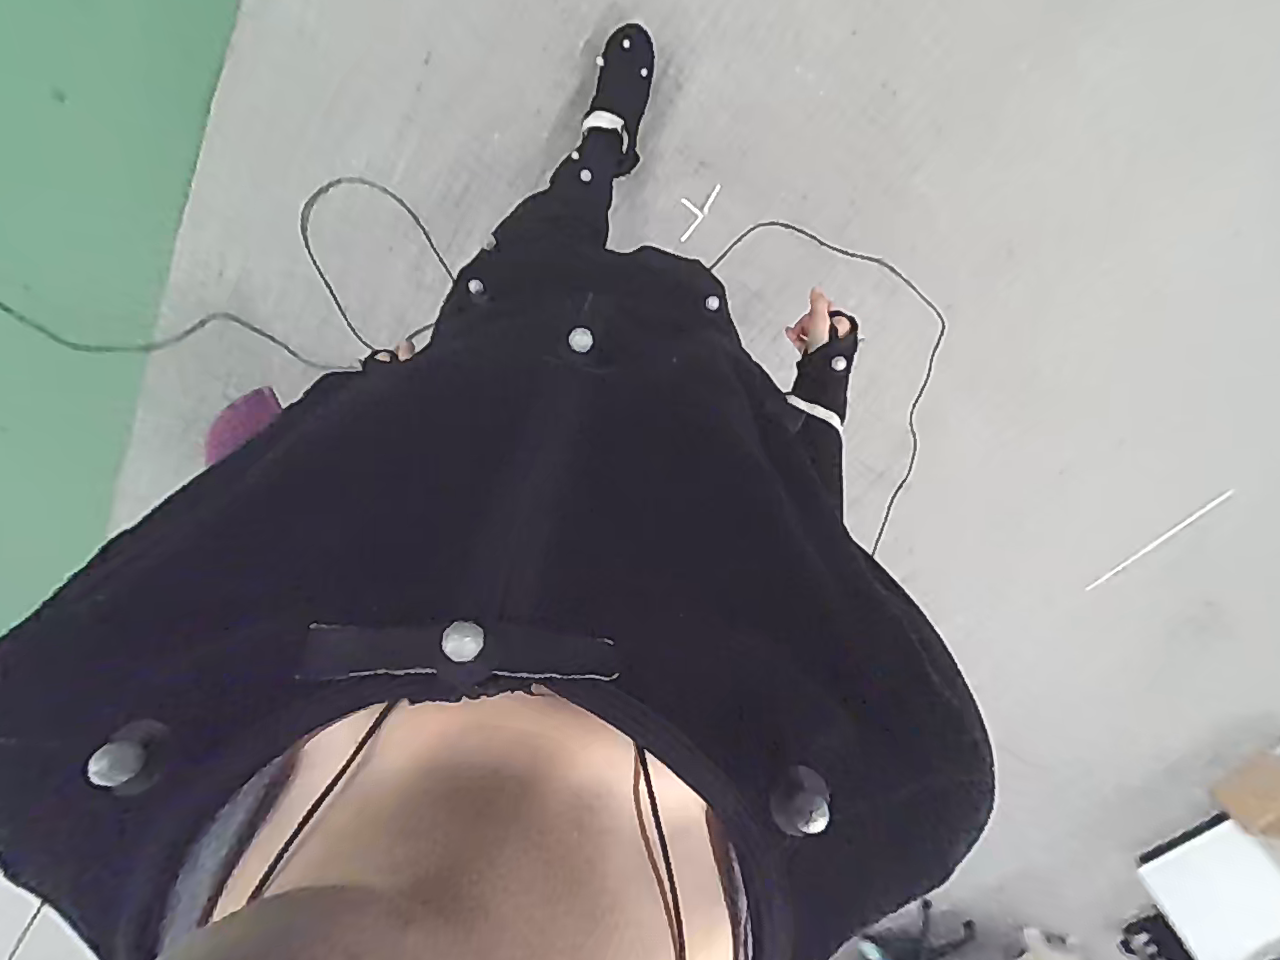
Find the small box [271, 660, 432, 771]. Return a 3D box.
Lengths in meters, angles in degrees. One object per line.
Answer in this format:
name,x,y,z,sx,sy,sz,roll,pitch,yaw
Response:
small box,-0.502,0.448,0.953,0.179,0.176,0.168,30,116,-15

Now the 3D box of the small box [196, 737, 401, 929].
small box,-0.495,0.516,0.804,0.179,0.176,0.168,32,116,-16
